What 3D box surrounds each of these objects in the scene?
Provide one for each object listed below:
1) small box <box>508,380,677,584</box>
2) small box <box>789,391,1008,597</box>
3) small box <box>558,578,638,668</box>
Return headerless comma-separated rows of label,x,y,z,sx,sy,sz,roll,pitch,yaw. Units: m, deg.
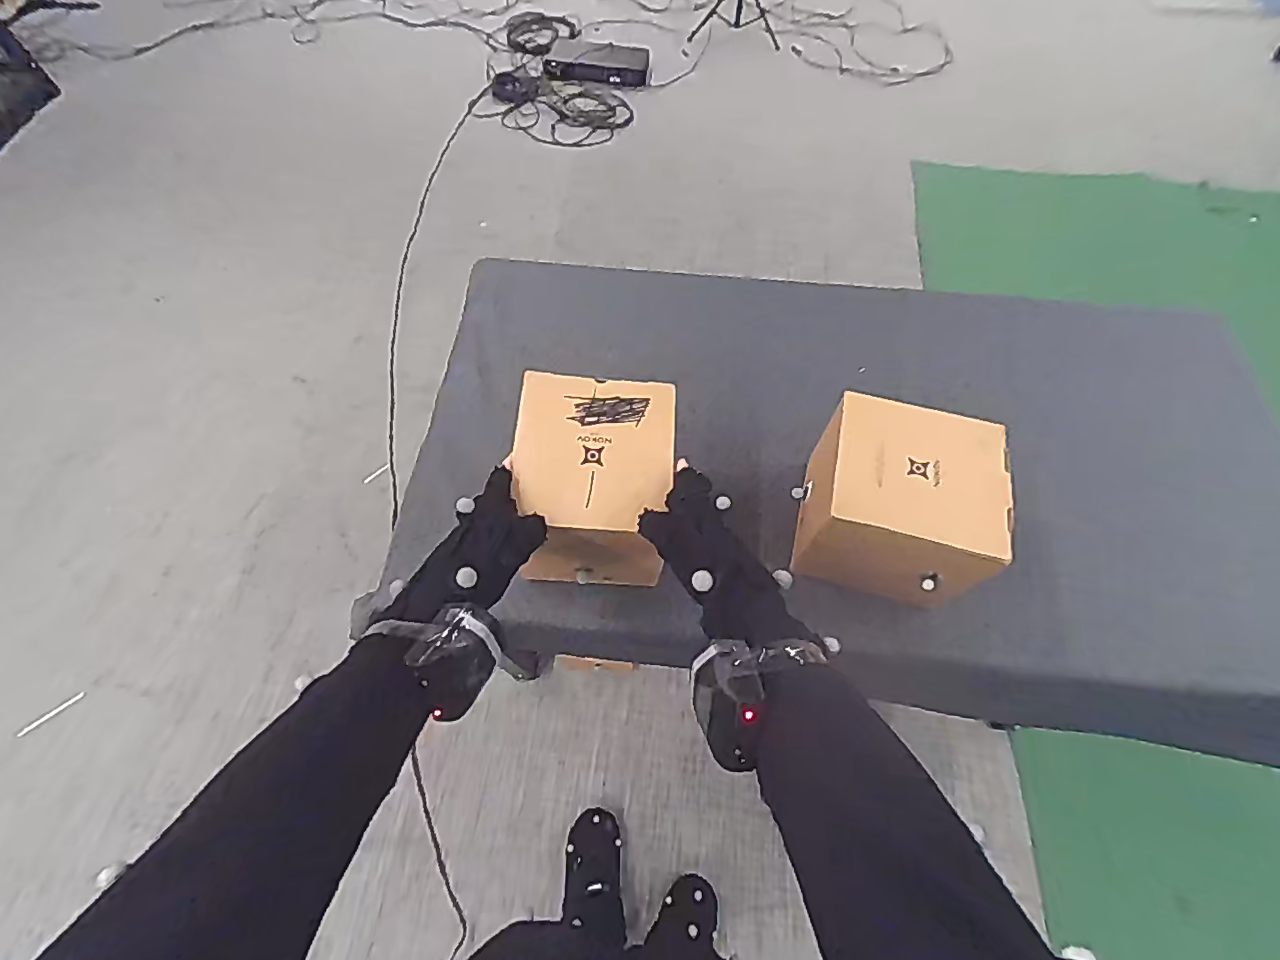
small box,-0.049,0.008,0.635,0.168,0.176,0.179,3,61,-2
small box,0.292,0.025,0.638,0.179,0.176,0.168,13,61,7
small box,-0.093,0.345,1.287,0.168,0.176,0.179,3,63,1
